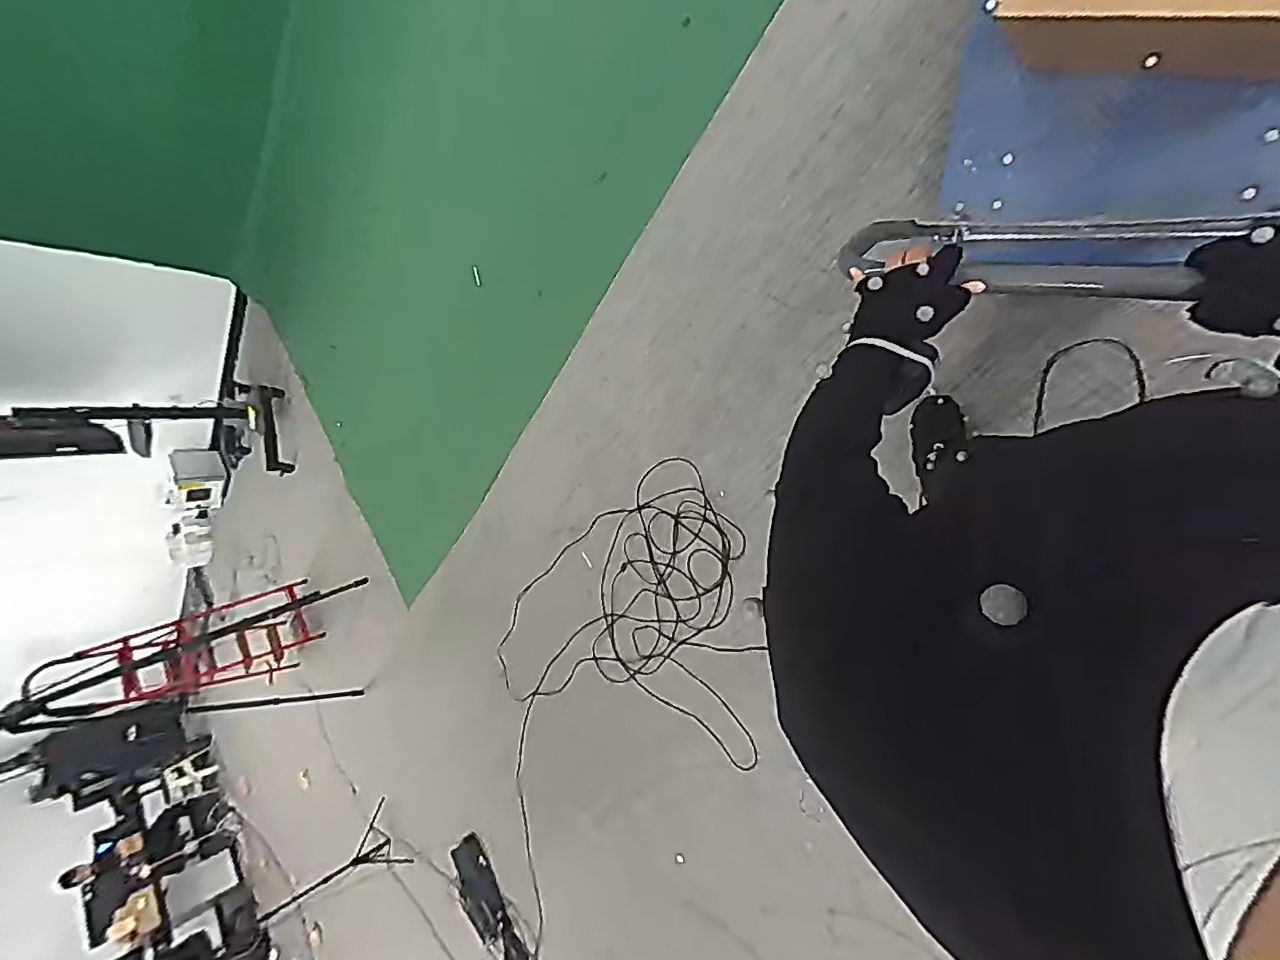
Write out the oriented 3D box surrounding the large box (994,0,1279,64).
[{"bbox_3d":[0.788,-0.781,0.722,0.408,0.320,0.320,31,126,30],"label":"large box"}]
